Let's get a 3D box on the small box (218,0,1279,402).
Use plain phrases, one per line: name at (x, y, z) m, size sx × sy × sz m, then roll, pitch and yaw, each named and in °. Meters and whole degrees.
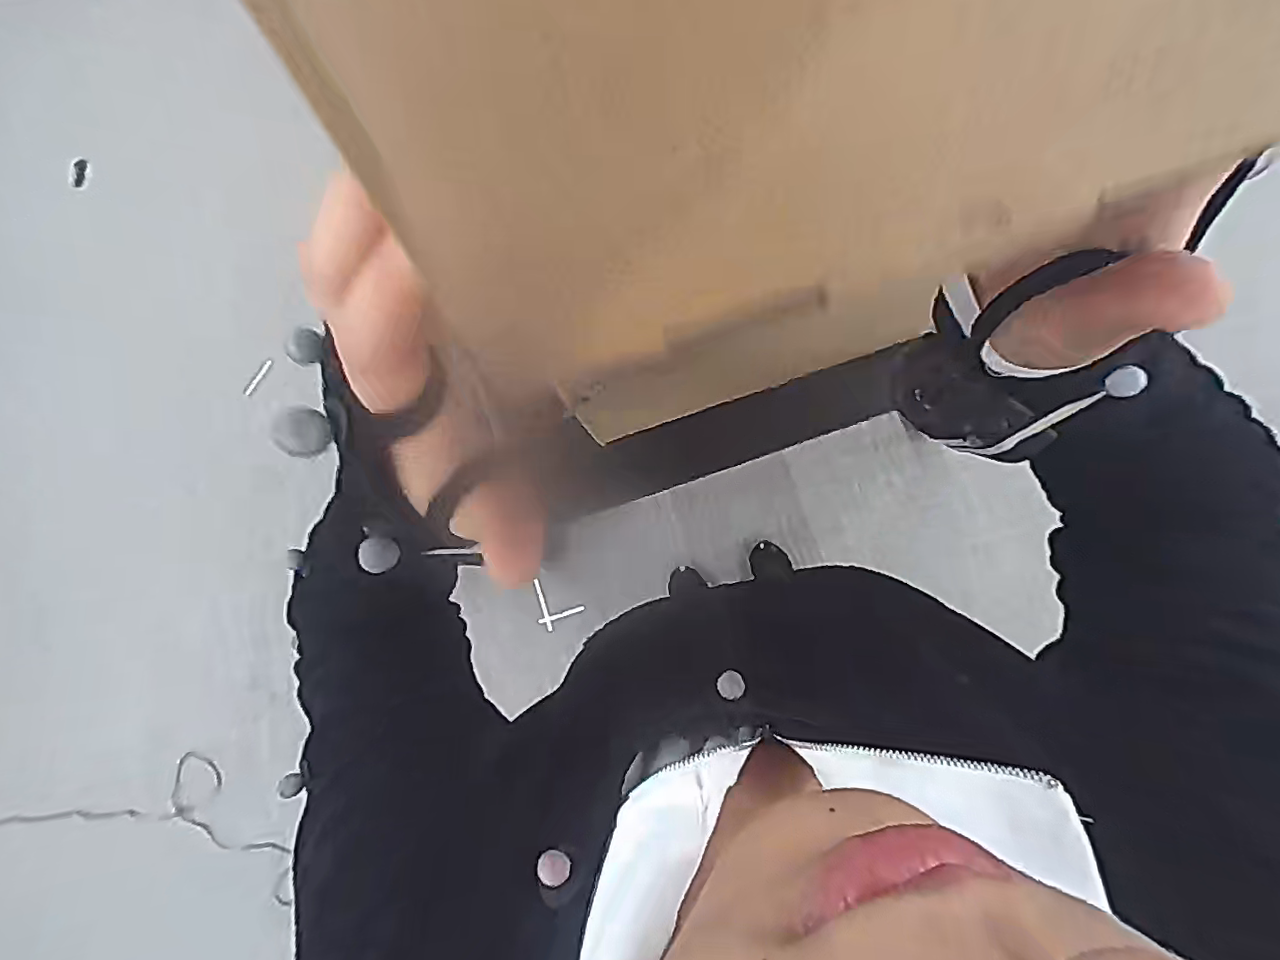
small box at (0.016, -0.147, 0.077) m, size 0.168 × 0.179 × 0.176 m, roll -17°, pitch 52°, yaw 5°
